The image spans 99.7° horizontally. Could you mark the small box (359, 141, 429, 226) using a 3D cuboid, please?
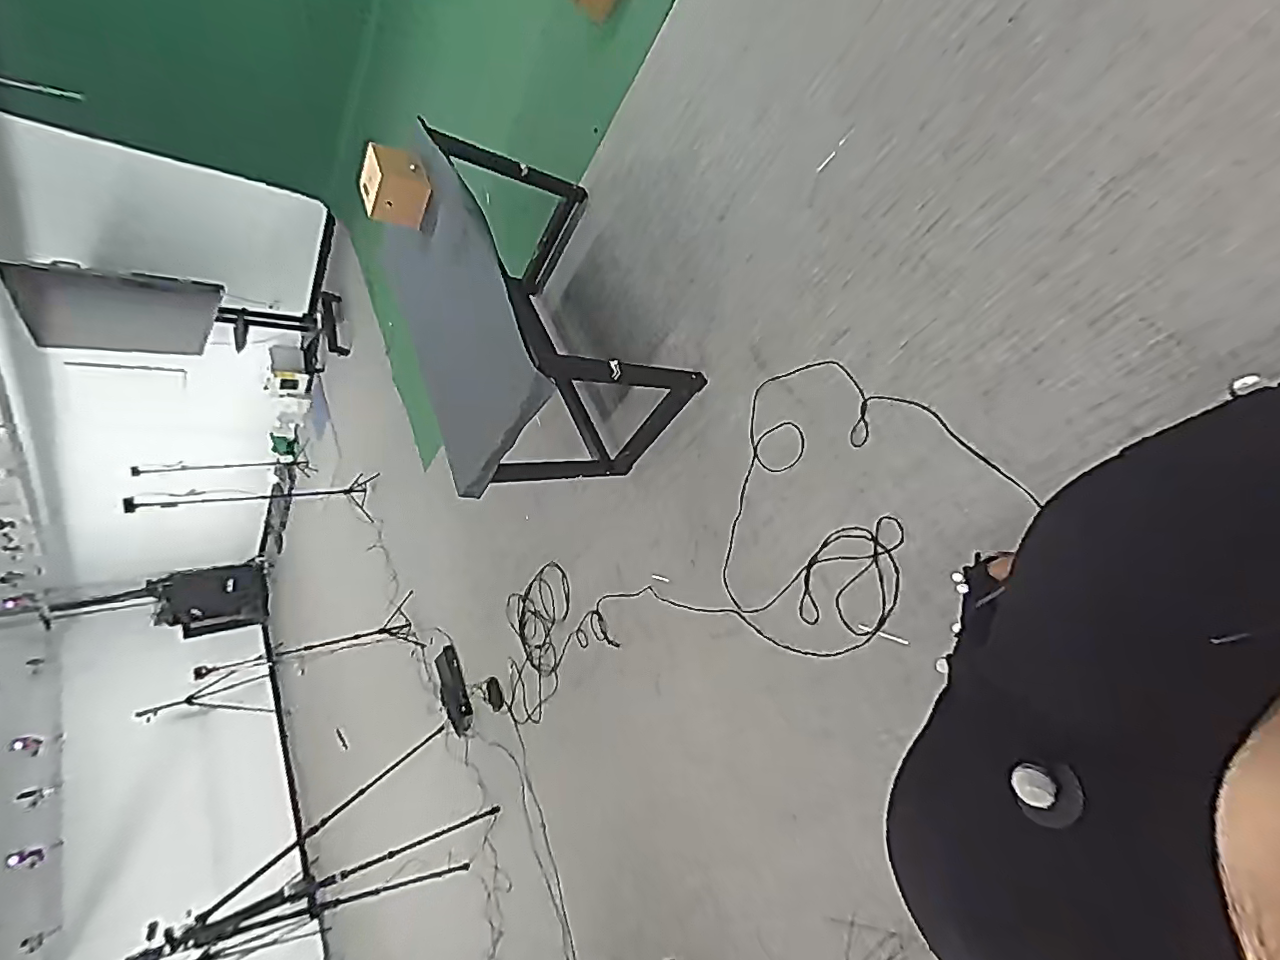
[{"bbox_3d":[-0.849,-1.015,1.867,0.179,0.176,0.168,-42,64,42],"label":"small box"}]

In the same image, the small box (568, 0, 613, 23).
[{"bbox_3d":[-0.199,-2.012,2.172,0.179,0.176,0.168,-40,65,41],"label":"small box"}]
